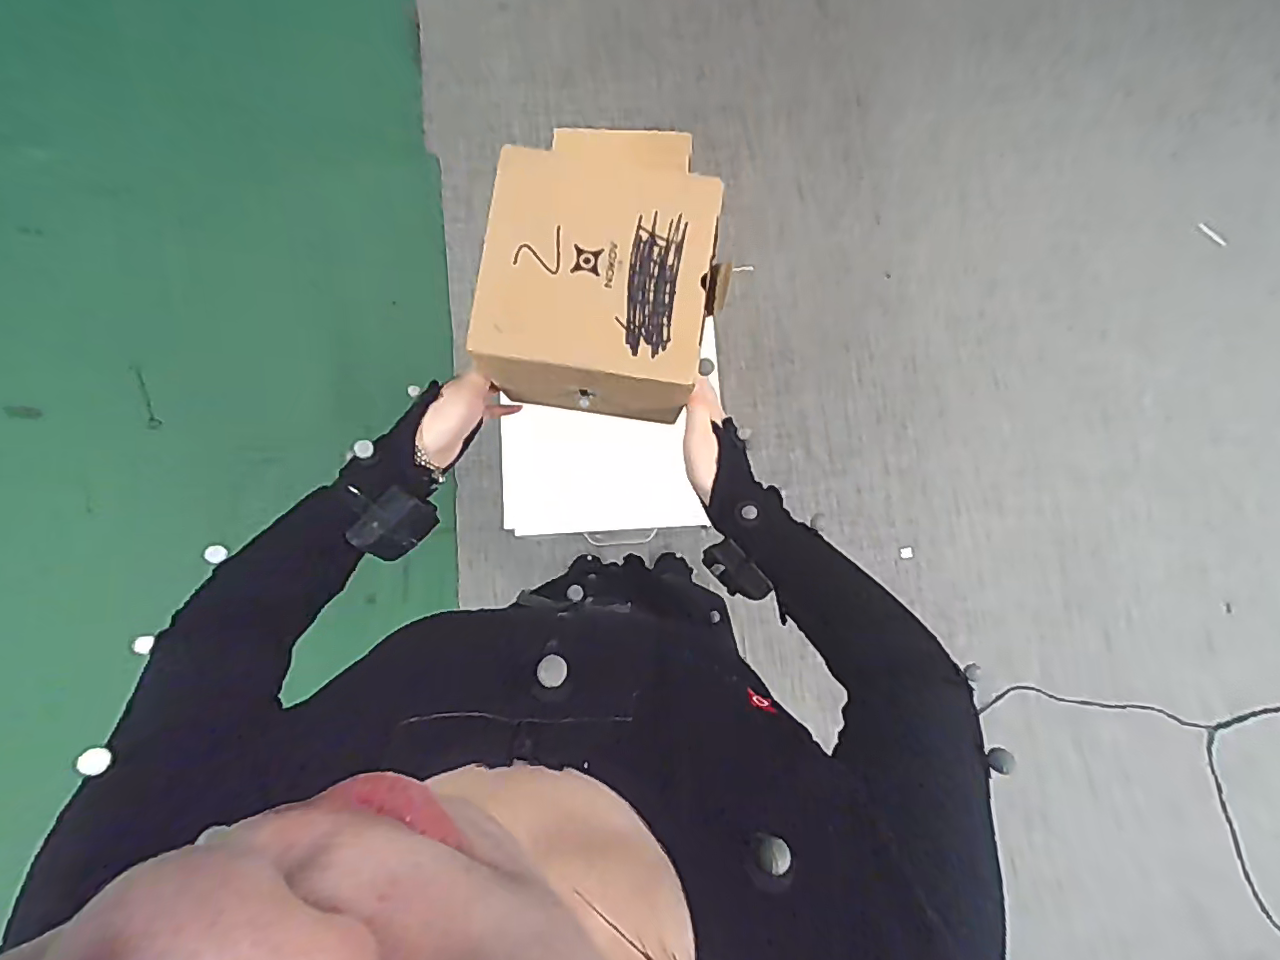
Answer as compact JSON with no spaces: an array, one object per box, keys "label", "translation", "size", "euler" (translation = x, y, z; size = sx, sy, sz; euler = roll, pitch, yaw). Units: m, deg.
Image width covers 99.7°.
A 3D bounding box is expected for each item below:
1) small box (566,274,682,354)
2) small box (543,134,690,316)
[{"label":"small box","translation":[-0.019,-0.321,0.910],"size":[0.179,0.176,0.168],"euler":[3,83,2]},{"label":"small box","translation":[-0.027,-0.340,0.748],"size":[0.179,0.176,0.168],"euler":[3,82,1]}]
